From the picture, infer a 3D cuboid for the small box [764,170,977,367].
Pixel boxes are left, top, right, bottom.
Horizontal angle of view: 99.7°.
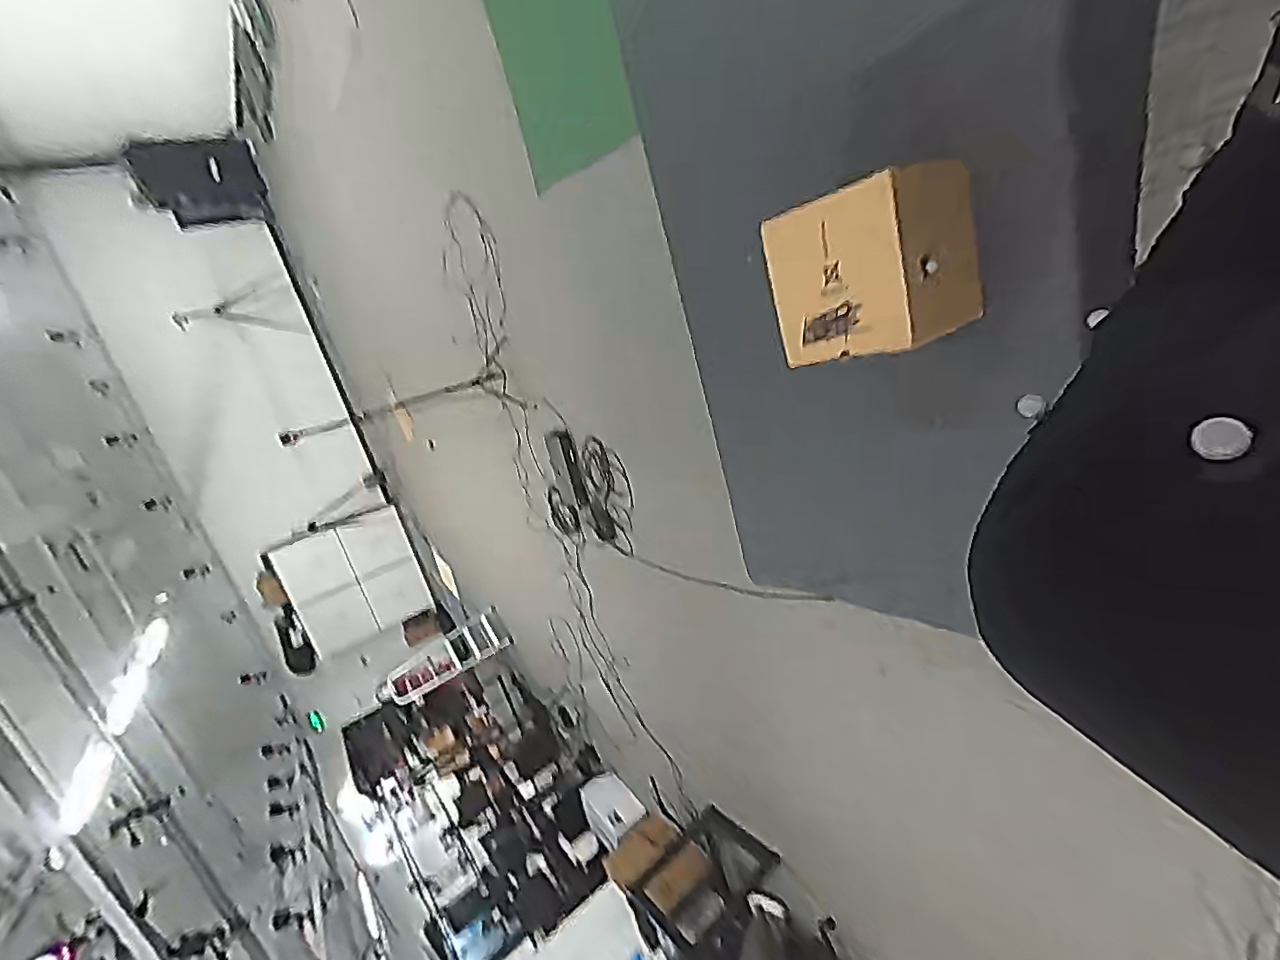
[{"bbox_3d":[0.282,-0.250,0.655,0.168,0.176,0.179,5,114,54],"label":"small box"}]
